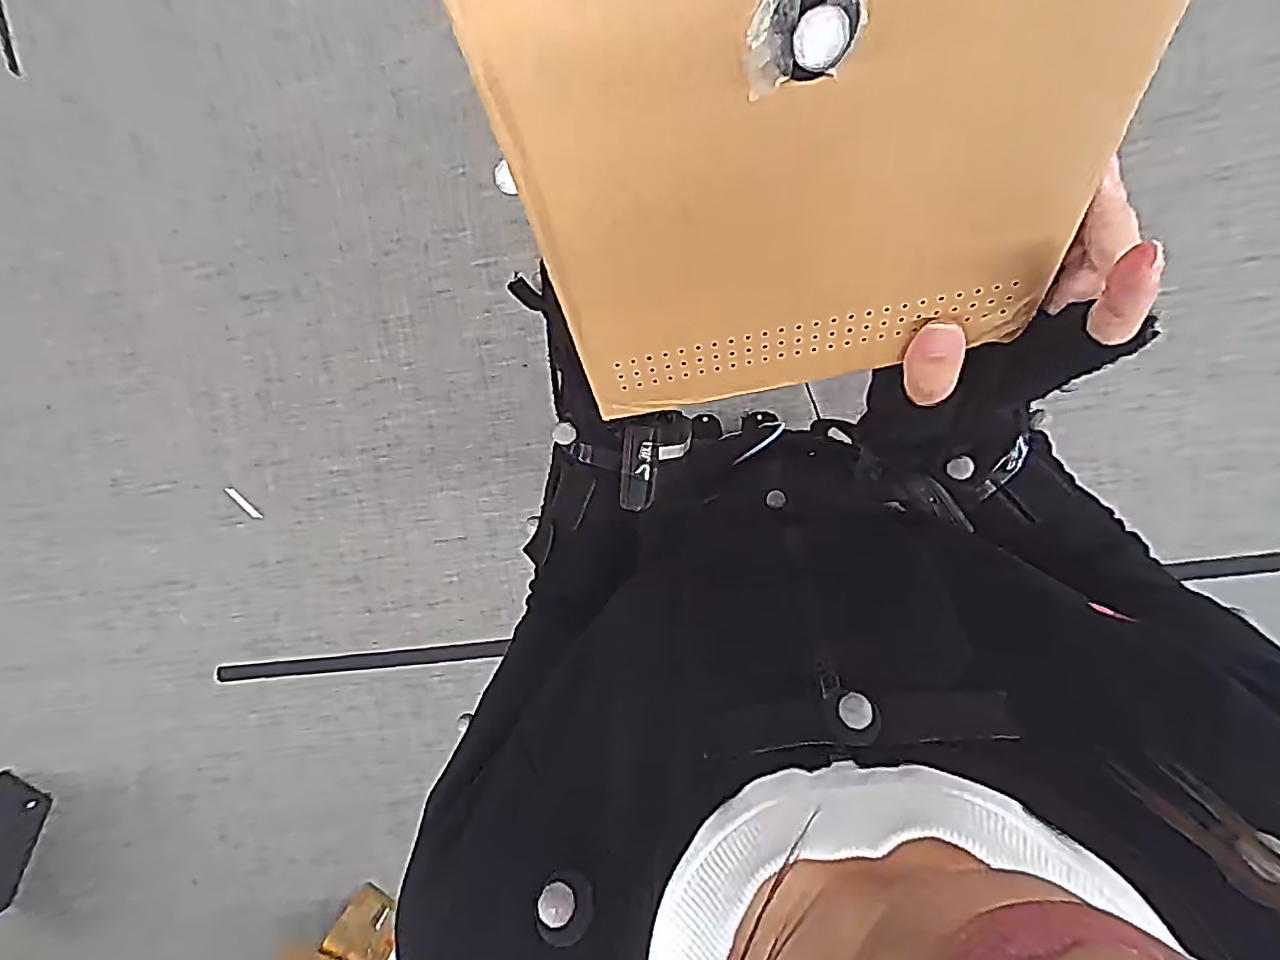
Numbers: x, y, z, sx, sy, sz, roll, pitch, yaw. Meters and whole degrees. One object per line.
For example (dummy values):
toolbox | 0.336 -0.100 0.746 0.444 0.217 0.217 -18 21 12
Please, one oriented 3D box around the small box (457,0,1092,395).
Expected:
small box | 0.048 -0.156 0.226 0.179 0.176 0.168 -10 55 7
